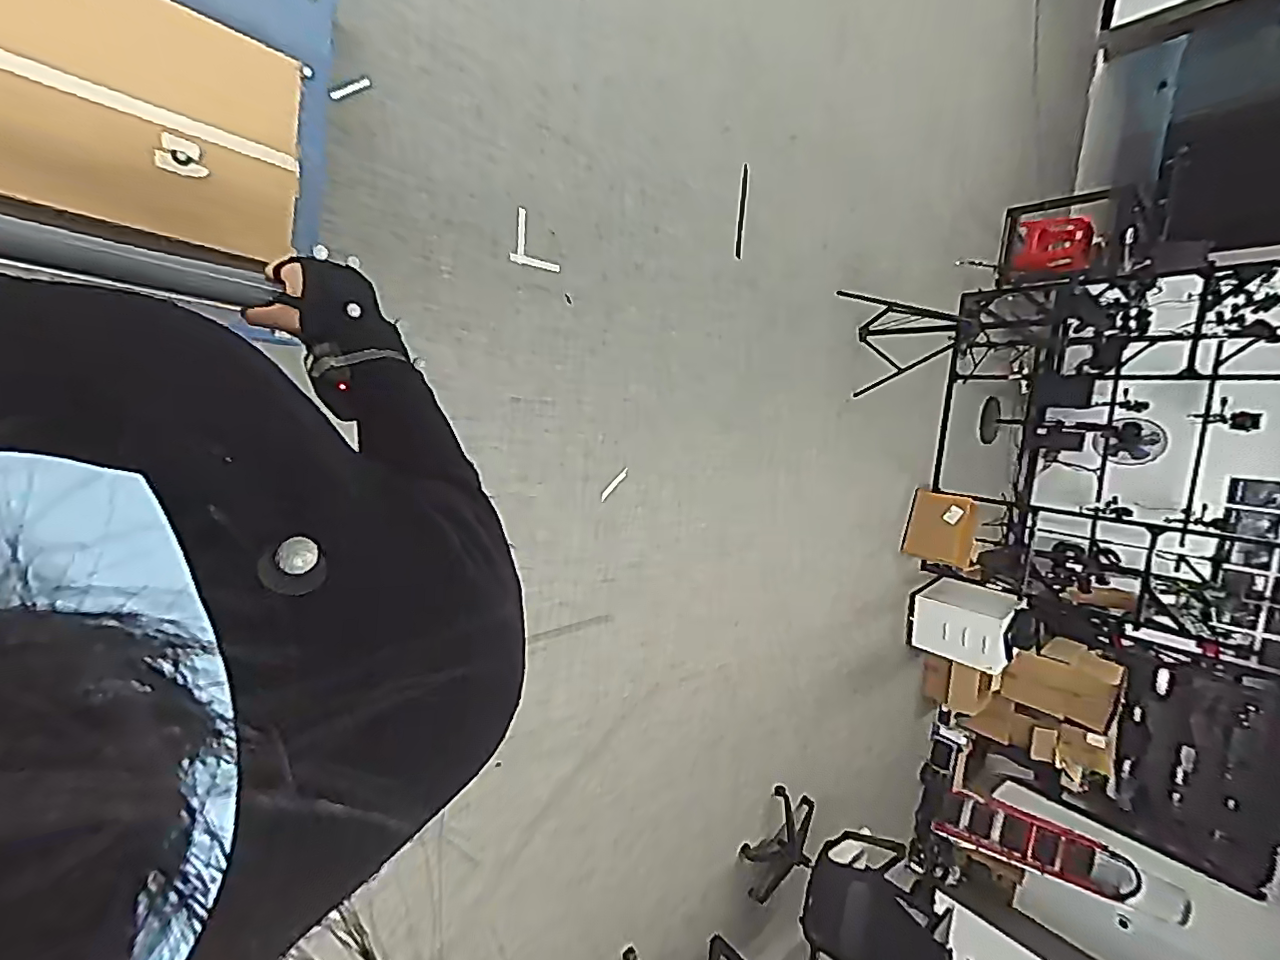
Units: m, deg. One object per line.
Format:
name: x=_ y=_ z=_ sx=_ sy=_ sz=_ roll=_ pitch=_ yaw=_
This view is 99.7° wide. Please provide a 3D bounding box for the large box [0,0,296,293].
large box: x=-0.792 y=-0.504 z=0.816 sx=0.408 sy=0.320 sz=0.320 roll=3 pitch=96 yaw=-43
